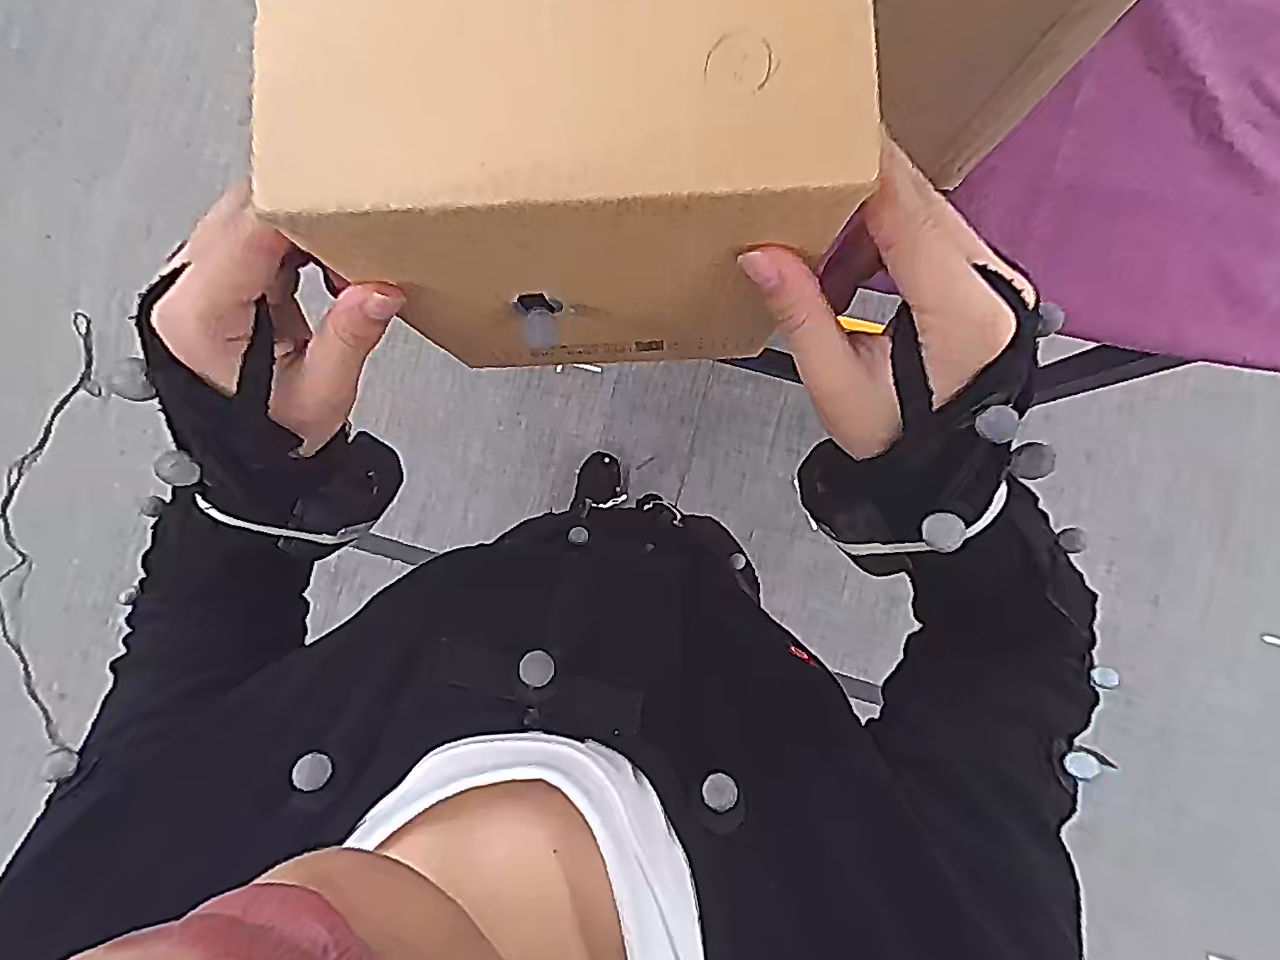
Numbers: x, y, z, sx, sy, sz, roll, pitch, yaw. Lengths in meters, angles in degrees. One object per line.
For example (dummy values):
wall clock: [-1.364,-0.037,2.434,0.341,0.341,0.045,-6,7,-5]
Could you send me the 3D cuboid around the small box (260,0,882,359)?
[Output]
small box: [-0.018,-0.154,0.225,0.168,0.176,0.179,-3,87,2]
